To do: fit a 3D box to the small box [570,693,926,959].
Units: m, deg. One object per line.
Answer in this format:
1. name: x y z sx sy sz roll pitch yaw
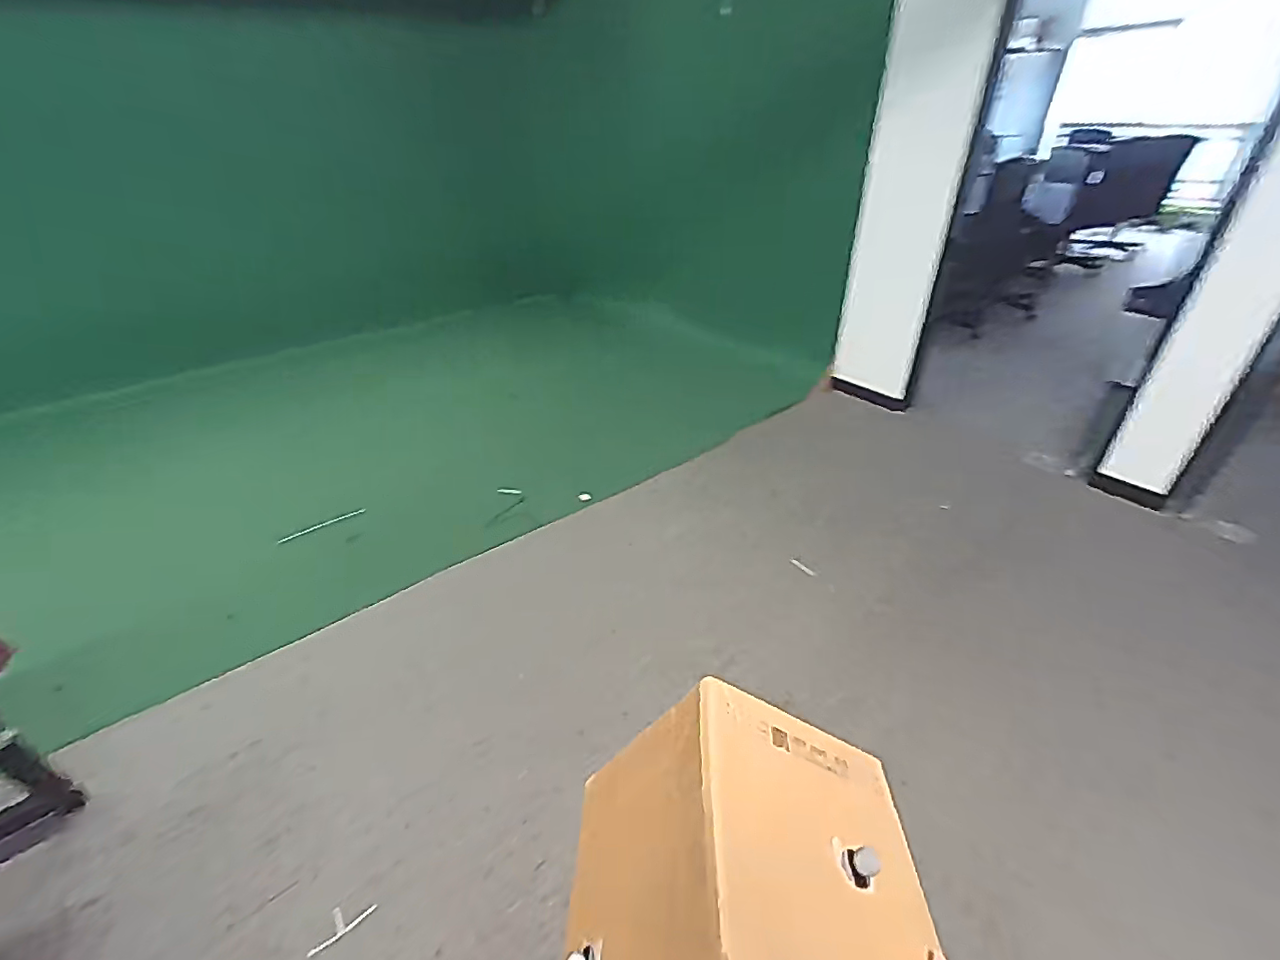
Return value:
1. small box: 0.060 0.284 0.379 0.168 0.179 0.176 29 30 -14
